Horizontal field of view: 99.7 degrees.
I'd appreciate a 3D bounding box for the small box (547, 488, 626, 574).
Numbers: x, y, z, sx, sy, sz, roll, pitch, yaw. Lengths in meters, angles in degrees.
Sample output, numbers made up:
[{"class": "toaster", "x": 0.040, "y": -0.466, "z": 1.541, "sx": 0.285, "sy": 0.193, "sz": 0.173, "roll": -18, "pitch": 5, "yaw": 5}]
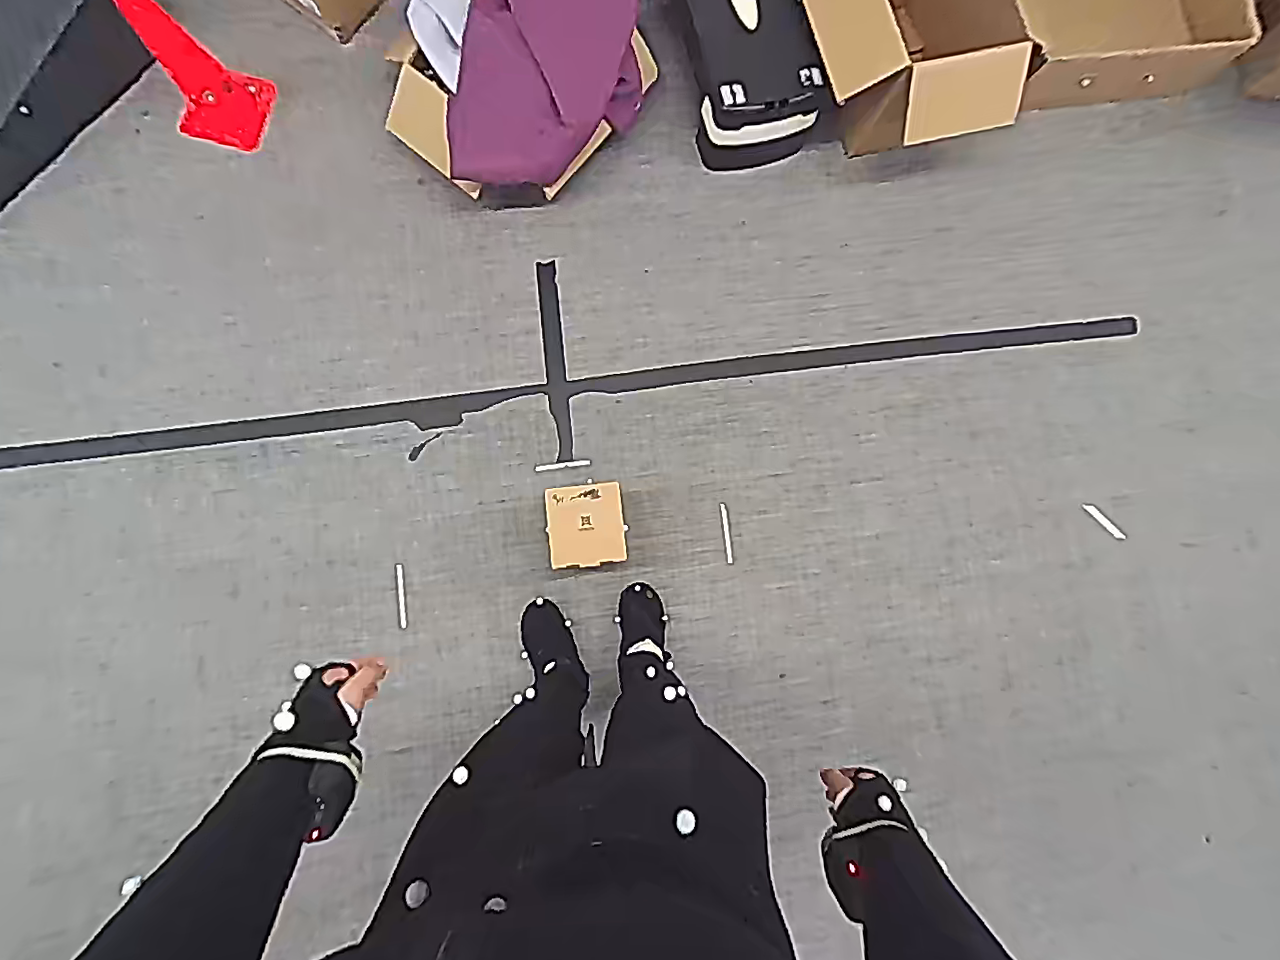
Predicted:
[{"class": "small box", "x": -0.120, "y": 0.115, "z": 1.253, "sx": 0.168, "sy": 0.176, "sz": 0.179, "roll": -5, "pitch": 85, "yaw": -4}]
